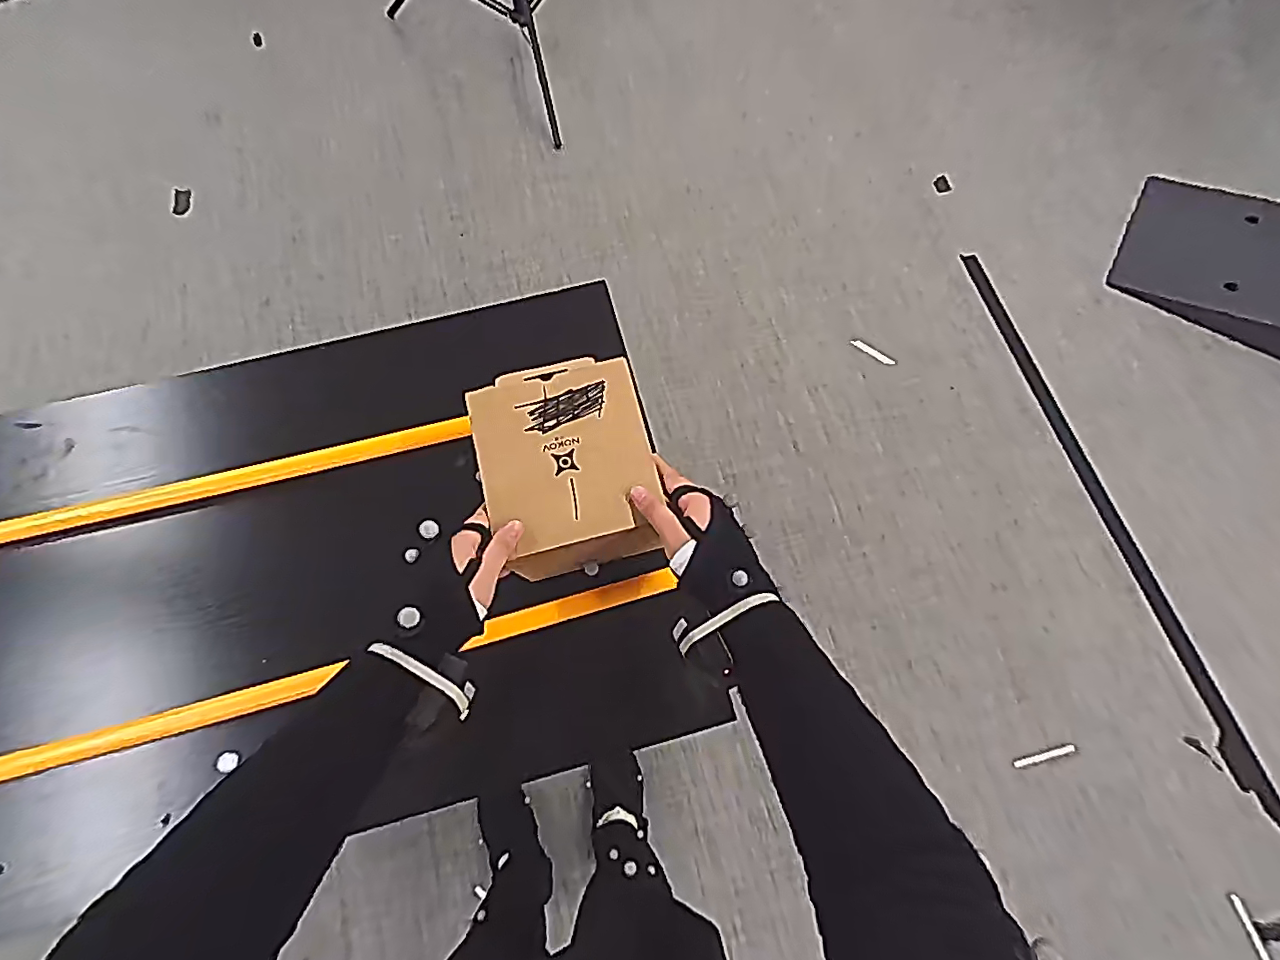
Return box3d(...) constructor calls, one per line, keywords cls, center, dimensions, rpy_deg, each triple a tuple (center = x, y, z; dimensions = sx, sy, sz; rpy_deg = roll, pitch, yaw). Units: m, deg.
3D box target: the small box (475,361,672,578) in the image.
box3d(cls="small box", center=(-0.069, -0.002, 0.601), dimensions=(0.168, 0.176, 0.179), rpy_deg=(-14, 74, -4))
